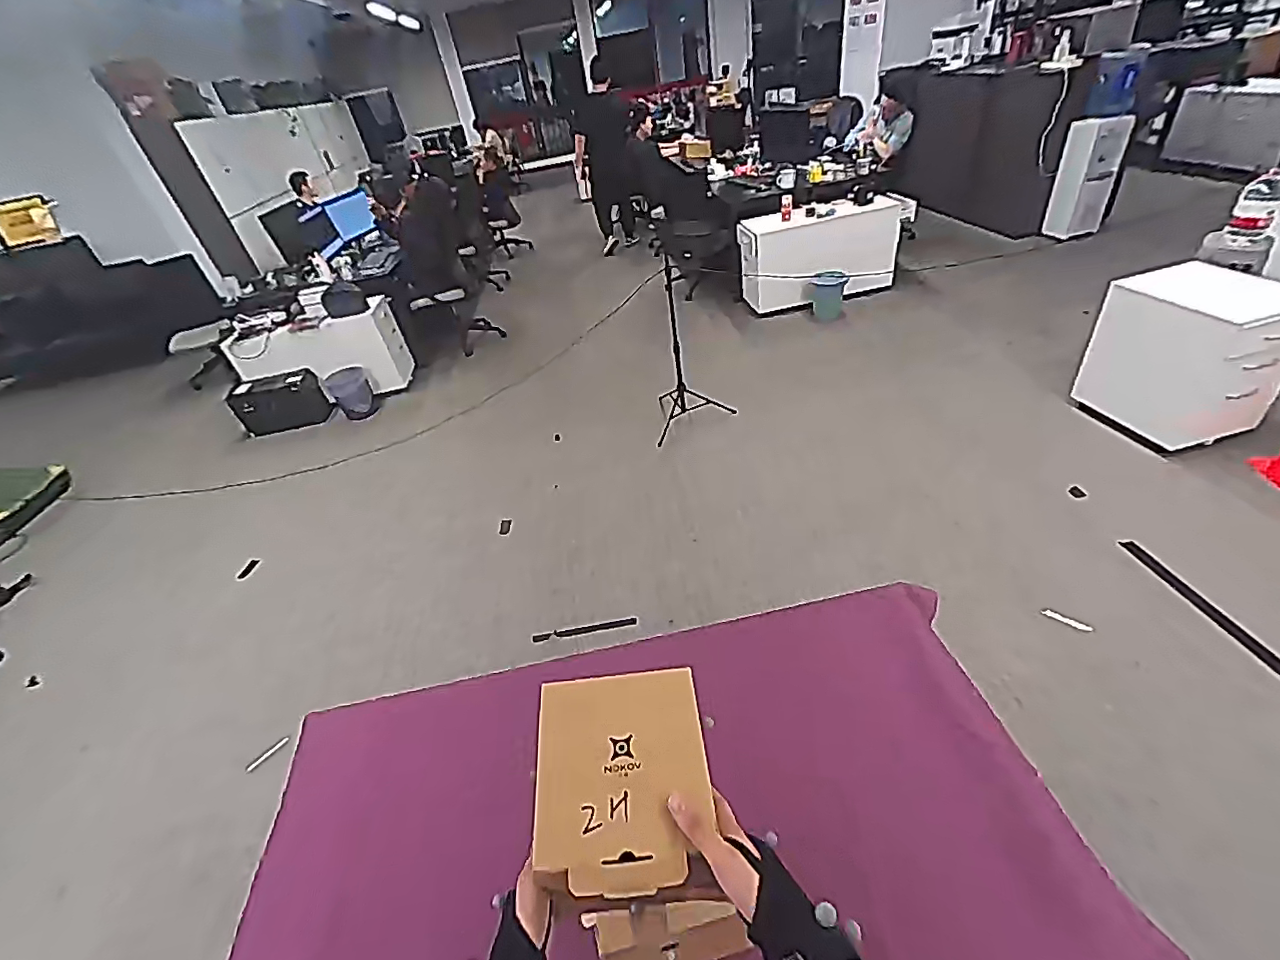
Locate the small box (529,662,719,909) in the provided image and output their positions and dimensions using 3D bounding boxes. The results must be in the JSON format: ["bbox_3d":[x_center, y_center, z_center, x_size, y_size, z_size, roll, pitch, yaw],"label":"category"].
[{"bbox_3d":[-0.015,0.321,0.573,0.168,0.176,0.179,-6,41,-1],"label":"small box"}]

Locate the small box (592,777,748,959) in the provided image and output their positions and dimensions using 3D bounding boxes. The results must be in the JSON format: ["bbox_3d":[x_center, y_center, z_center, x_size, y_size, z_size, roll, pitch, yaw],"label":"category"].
[{"bbox_3d":[0.033,0.512,0.709,0.179,0.176,0.168,-14,38,-4],"label":"small box"}]
